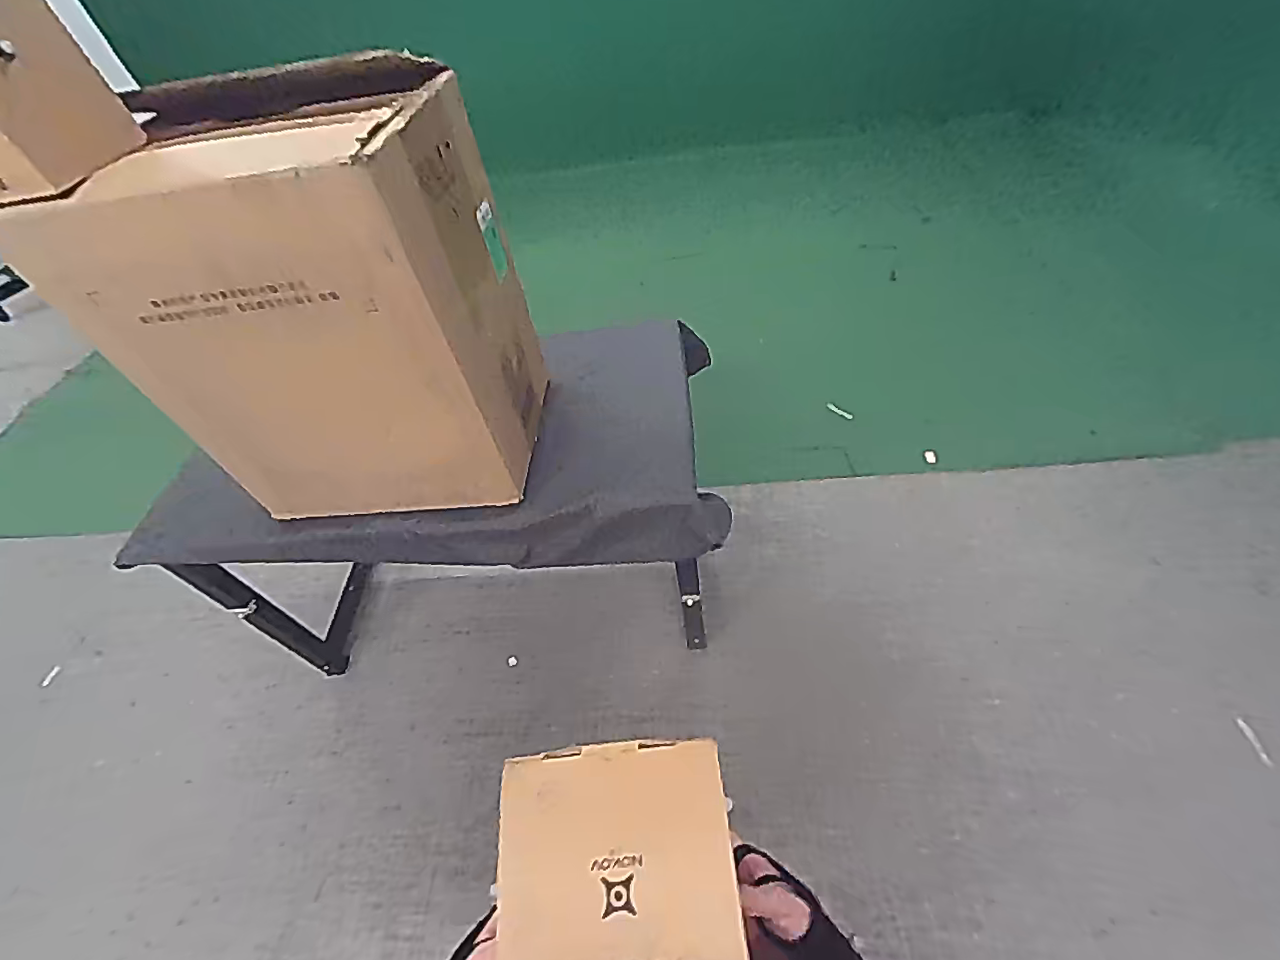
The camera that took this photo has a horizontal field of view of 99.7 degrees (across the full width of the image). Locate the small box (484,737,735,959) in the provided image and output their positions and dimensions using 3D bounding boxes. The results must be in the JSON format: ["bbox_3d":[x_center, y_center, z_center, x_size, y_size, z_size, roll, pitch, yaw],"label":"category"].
[{"bbox_3d":[-0.022,0.319,0.439,0.168,0.176,0.179,-4,60,-1],"label":"small box"}]

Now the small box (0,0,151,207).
[{"bbox_3d":[-0.766,-0.447,0.653,0.168,0.176,0.179,-3,49,9],"label":"small box"}]
